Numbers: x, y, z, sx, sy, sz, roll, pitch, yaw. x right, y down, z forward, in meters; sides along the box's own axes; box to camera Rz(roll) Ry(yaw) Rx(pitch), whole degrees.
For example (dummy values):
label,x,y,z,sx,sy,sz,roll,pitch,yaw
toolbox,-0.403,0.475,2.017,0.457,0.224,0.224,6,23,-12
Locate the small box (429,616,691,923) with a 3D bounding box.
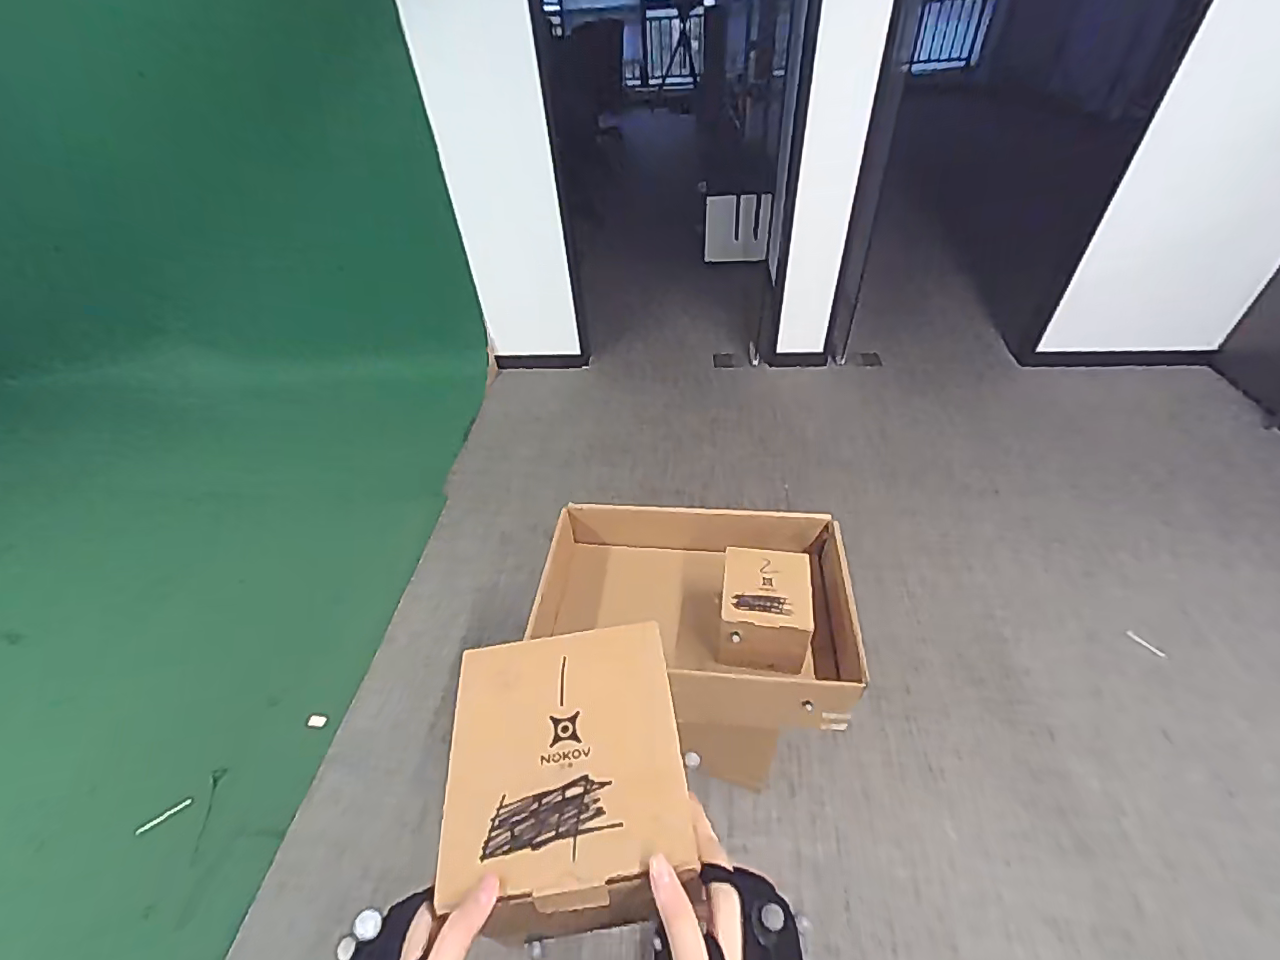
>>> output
label,x,y,z,sx,sy,sz,roll,pitch,yaw
small box,-0.053,0.243,0.451,0.168,0.176,0.179,-8,42,-1
